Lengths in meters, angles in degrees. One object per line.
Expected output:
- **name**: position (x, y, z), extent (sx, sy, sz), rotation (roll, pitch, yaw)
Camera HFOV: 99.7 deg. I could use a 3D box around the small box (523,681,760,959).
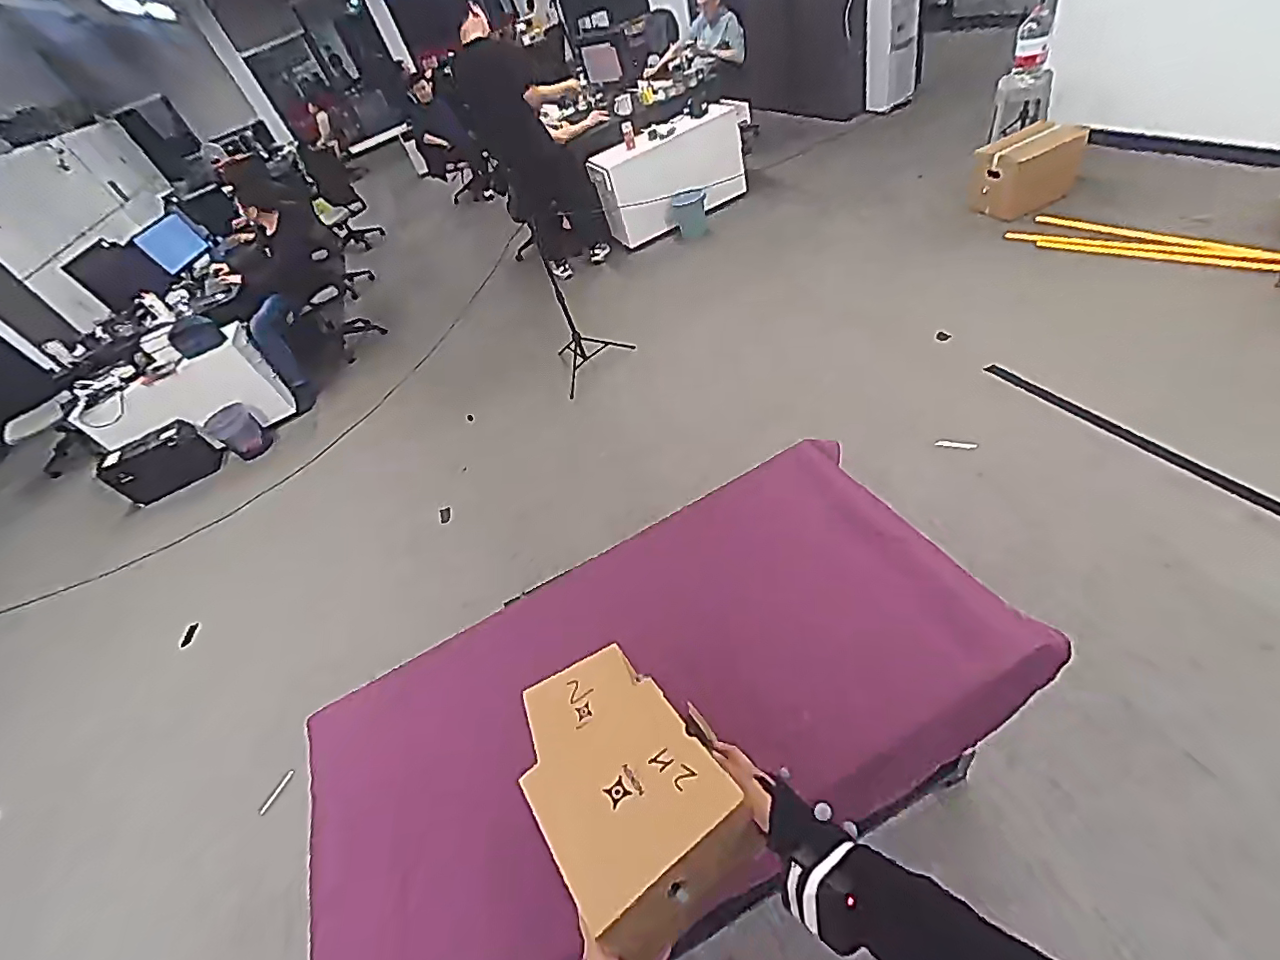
- **small box**: position (0.009, 0.366, 0.583), extent (0.179, 0.176, 0.168), rotation (-34, 40, -17)
